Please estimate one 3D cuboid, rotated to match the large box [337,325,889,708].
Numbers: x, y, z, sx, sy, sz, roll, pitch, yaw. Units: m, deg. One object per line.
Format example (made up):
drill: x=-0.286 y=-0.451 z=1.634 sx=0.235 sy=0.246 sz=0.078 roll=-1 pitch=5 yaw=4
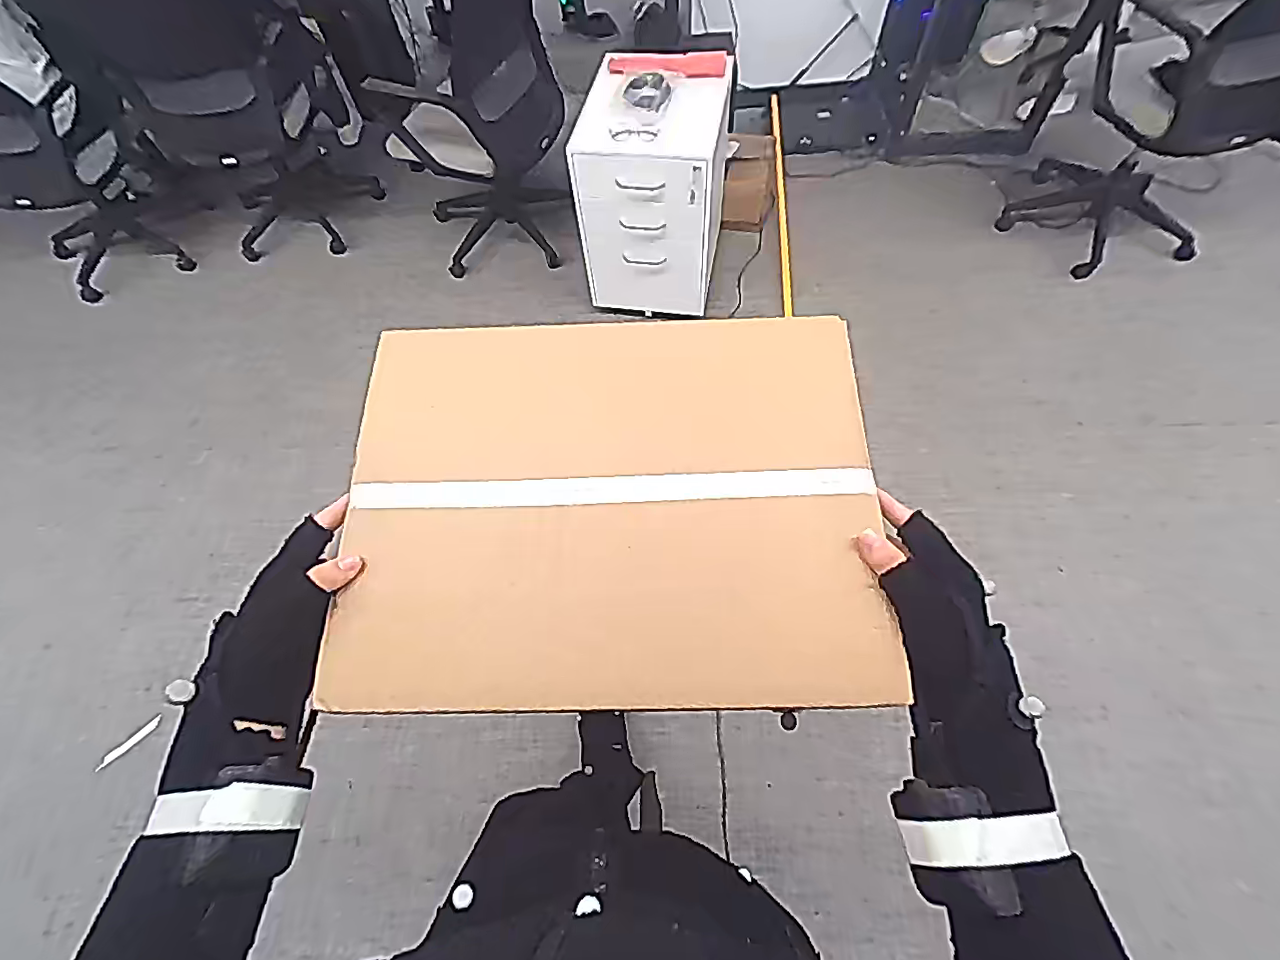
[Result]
large box: x=-0.017 y=0.064 z=0.573 sx=0.408 sy=0.320 sz=0.320 roll=-1 pitch=68 yaw=2
